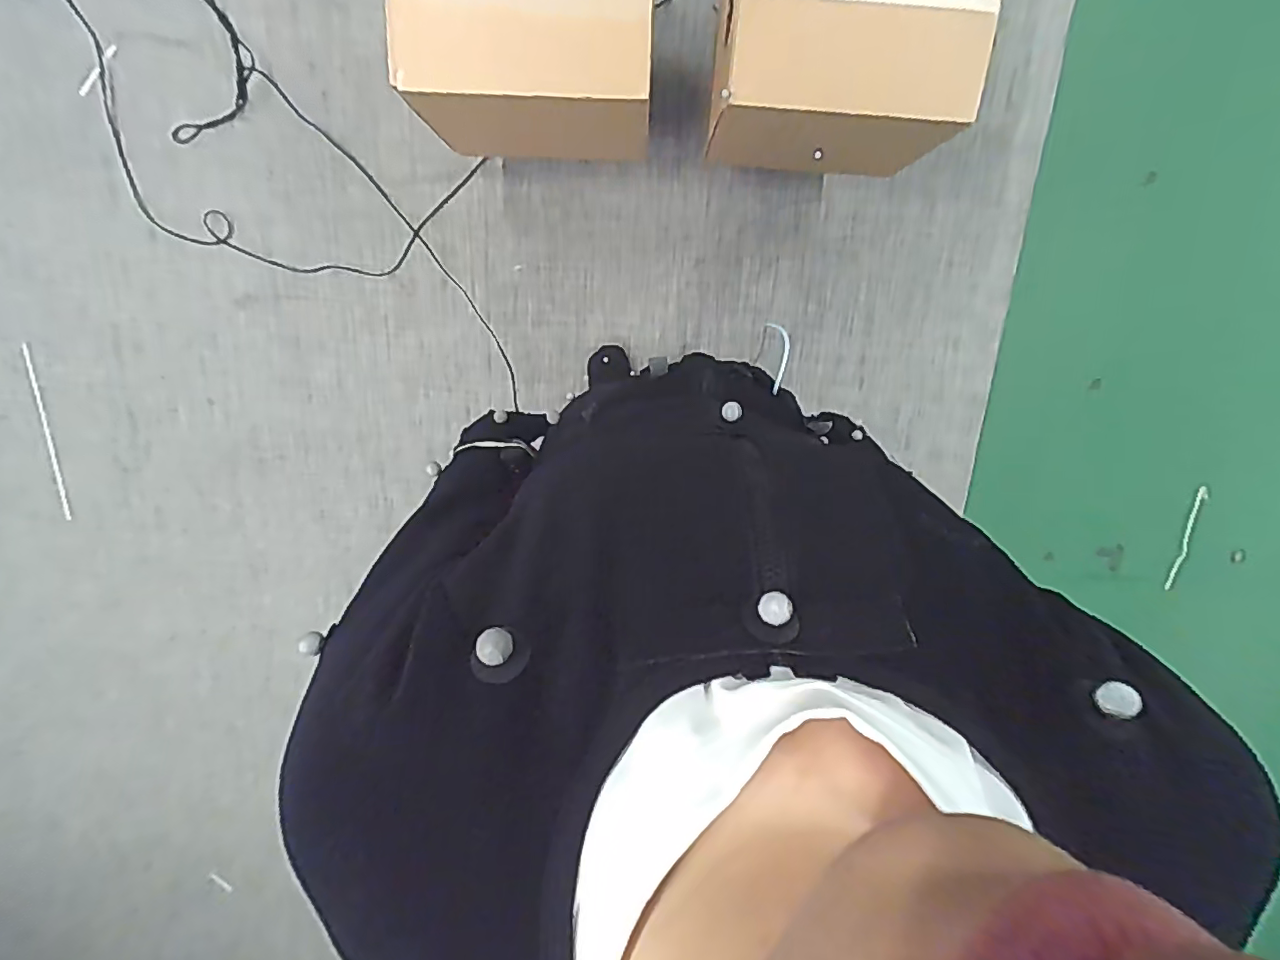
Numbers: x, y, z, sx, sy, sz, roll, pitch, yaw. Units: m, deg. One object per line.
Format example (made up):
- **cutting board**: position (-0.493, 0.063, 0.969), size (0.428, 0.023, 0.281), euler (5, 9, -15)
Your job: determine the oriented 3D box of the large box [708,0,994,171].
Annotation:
- **large box**: position (0.353, -0.781, 0.985), size (0.408, 0.320, 0.320), euler (4, 105, -1)
